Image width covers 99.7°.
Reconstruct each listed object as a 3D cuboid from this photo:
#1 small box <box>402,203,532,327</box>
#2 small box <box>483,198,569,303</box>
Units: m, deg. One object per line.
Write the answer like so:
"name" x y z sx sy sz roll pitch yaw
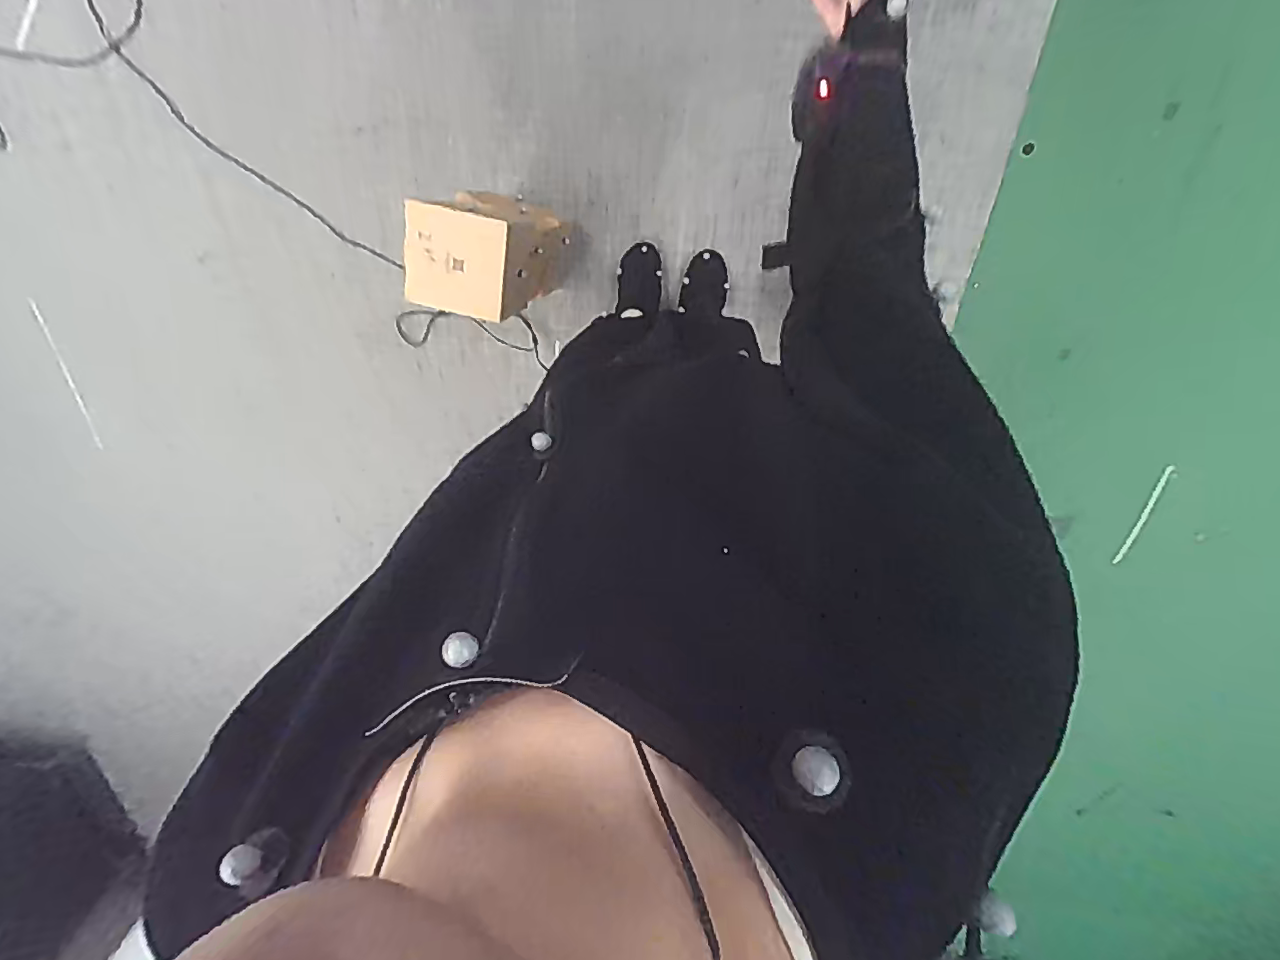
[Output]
"small box" -0.306 -0.393 0.979 0.179 0.176 0.168 14 116 0
"small box" -0.275 -0.540 1.268 0.168 0.176 0.179 20 118 -3
